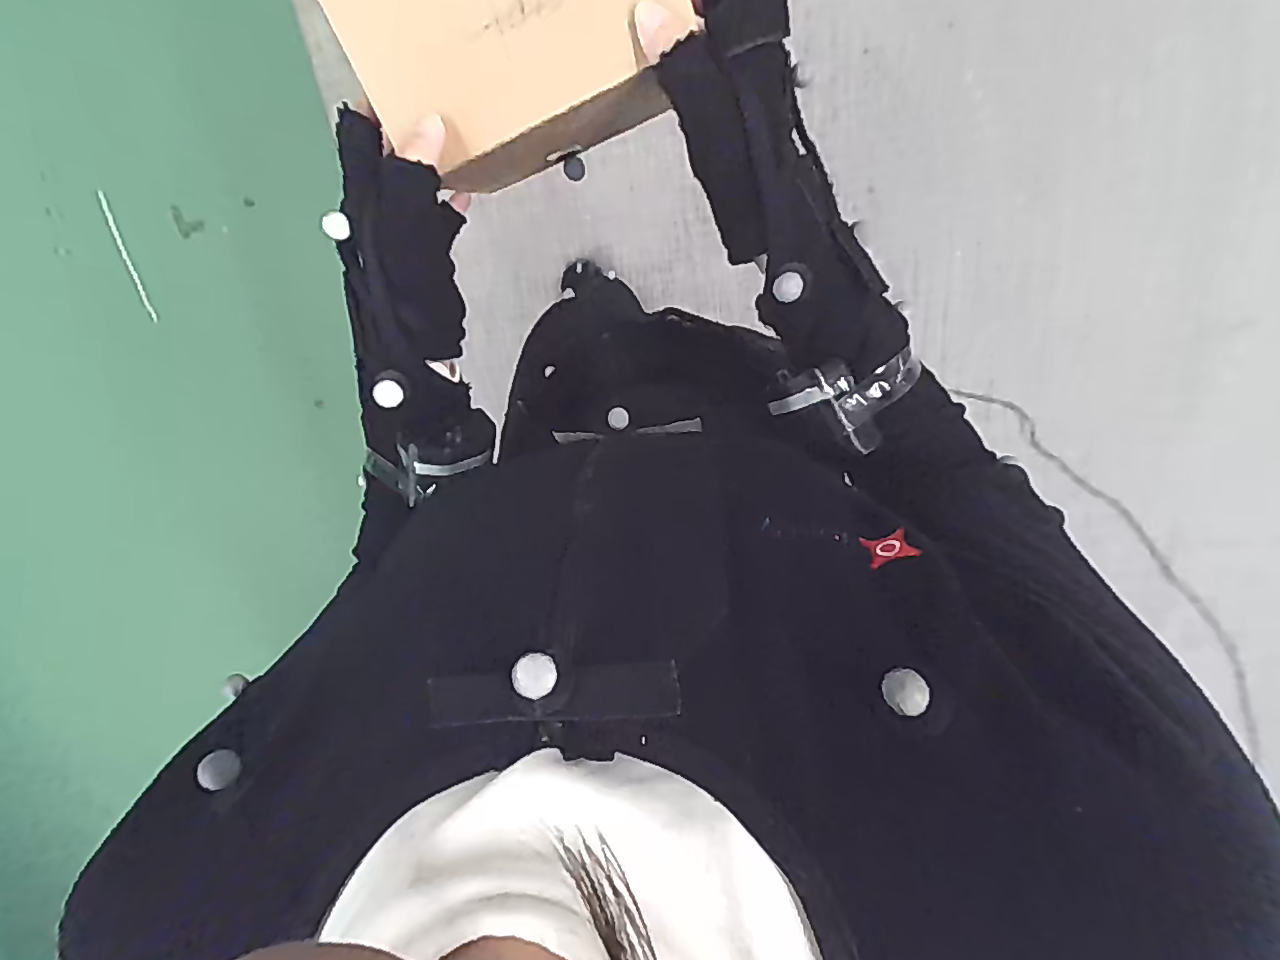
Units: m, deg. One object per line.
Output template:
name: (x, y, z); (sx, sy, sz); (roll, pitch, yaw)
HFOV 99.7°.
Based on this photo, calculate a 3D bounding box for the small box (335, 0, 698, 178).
small box: (-0.074, -0.302, 0.316); (0.168, 0.176, 0.179); (-18, 114, 11)
